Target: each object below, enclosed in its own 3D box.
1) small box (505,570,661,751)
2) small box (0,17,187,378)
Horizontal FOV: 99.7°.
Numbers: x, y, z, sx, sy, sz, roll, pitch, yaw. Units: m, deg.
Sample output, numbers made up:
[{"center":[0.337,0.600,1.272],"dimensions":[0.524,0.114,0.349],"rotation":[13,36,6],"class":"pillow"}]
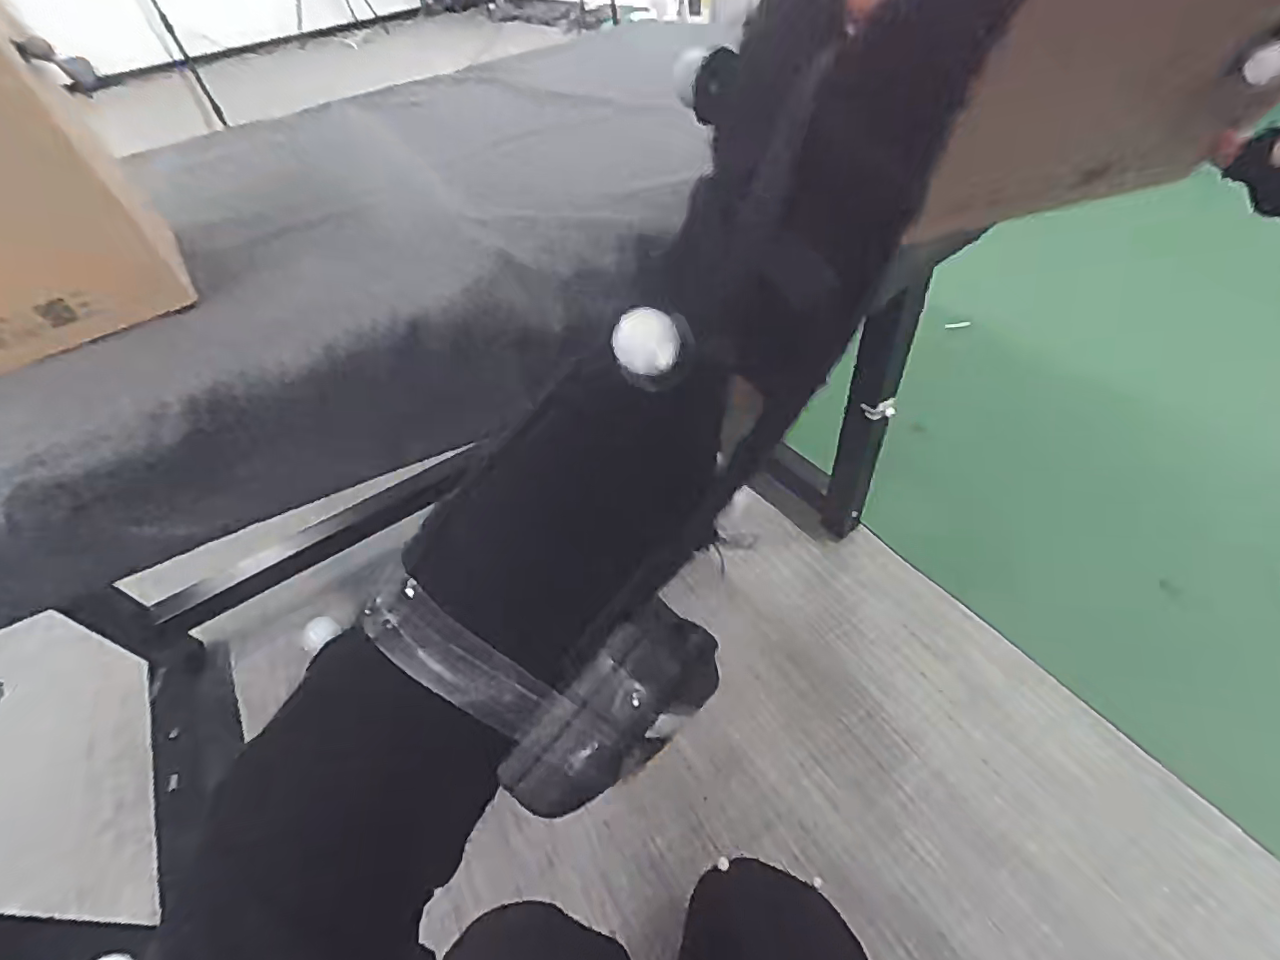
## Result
[{"center":[-0.085,0.282,0.844],"dimensions":[0.168,0.176,0.179],"rotation":[-29,49,-16],"class":"small box"},{"center":[-0.405,-0.164,0.308],"dimensions":[0.168,0.176,0.179],"rotation":[-33,50,-21],"class":"small box"}]
